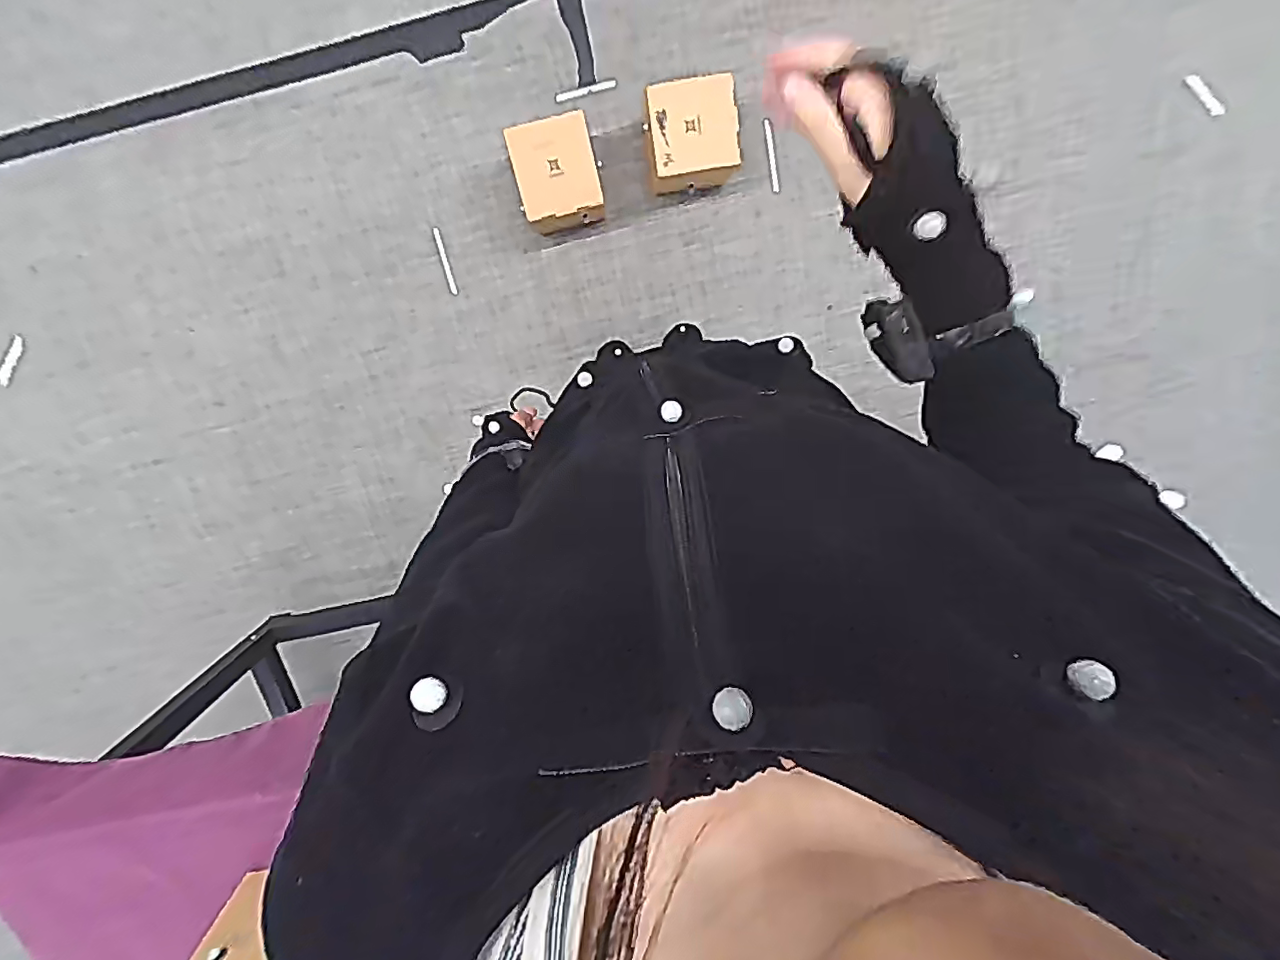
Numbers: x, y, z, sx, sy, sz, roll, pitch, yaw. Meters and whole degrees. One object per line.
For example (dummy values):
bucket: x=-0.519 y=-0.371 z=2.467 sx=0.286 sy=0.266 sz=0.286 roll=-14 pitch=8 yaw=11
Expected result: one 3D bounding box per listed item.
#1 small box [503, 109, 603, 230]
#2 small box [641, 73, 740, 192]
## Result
small box: x=-0.177 y=-0.653 z=1.164 sx=0.168 sy=0.176 sz=0.179 roll=-15 pitch=106 yaw=0
small box: x=0.104 y=-0.732 z=1.155 sx=0.179 sy=0.176 sz=0.168 roll=-9 pitch=107 yaw=-1
